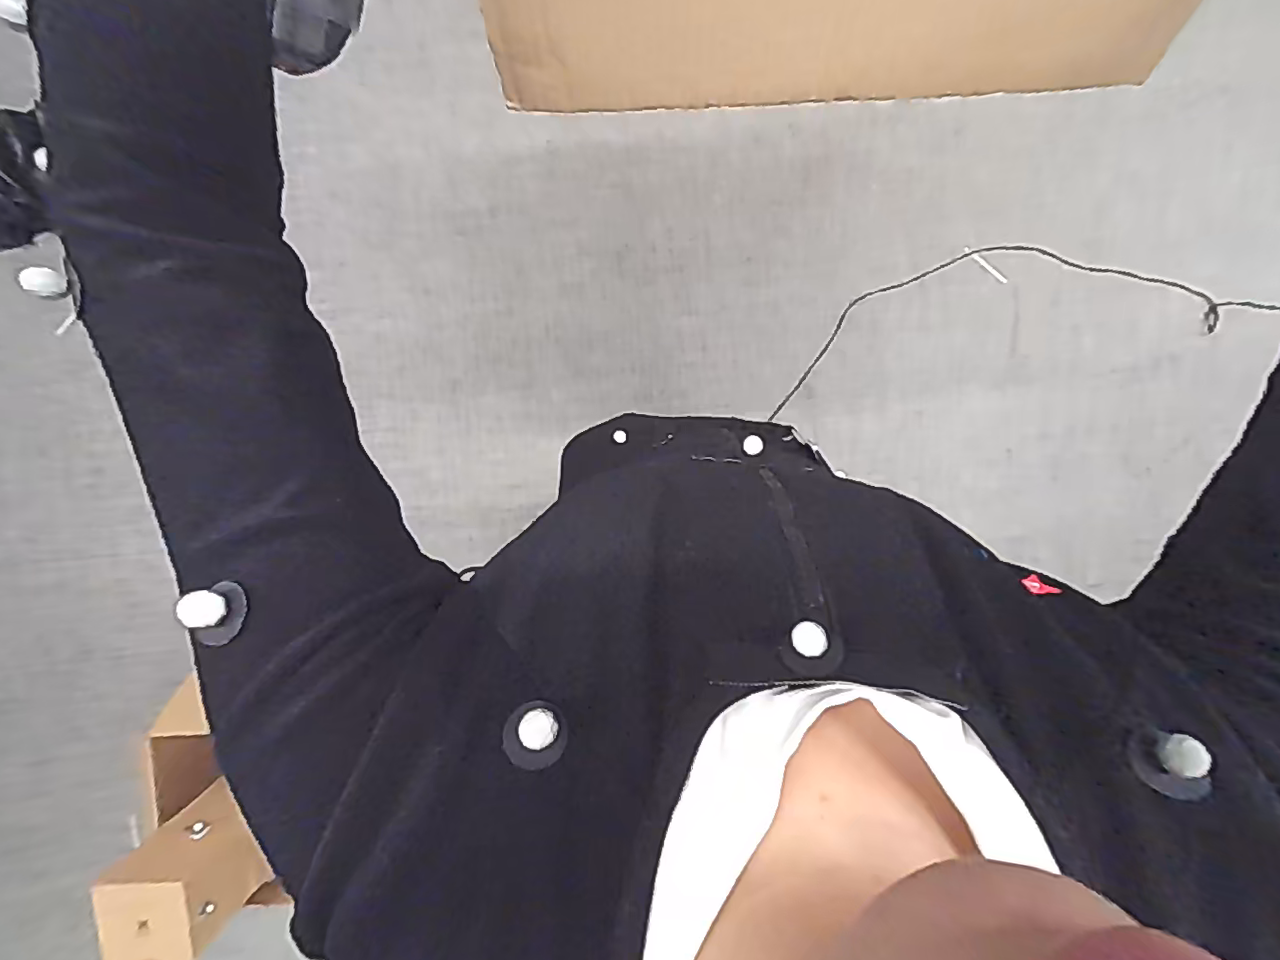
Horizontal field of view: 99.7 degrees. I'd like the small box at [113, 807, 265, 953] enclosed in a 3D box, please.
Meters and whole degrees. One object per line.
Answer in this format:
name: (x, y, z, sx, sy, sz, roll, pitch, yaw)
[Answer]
small box: (-0.901, 0.805, 1.100, 0.168, 0.176, 0.179, -3, 97, -1)
